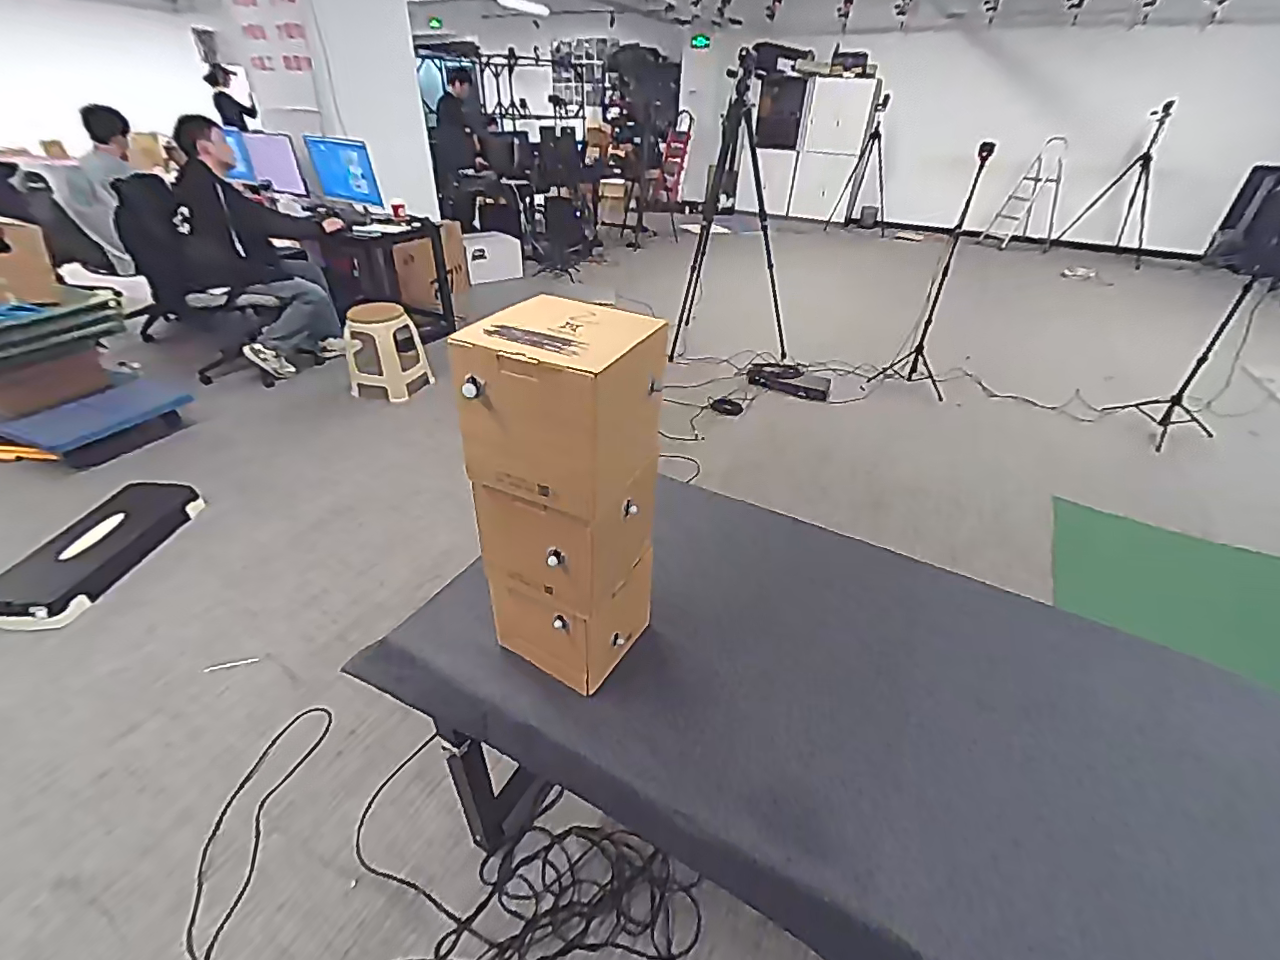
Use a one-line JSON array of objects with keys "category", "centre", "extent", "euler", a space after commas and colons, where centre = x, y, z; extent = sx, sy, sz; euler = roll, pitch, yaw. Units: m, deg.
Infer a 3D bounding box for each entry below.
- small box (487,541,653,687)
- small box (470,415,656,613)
[{"category": "small box", "centre": [-0.100, 0.170, 0.802], "extent": [0.179, 0.176, 0.168], "euler": [21, 38, 24]}, {"category": "small box", "centre": [-0.091, 0.041, 0.704], "extent": [0.168, 0.176, 0.179], "euler": [19, 36, 19]}]
